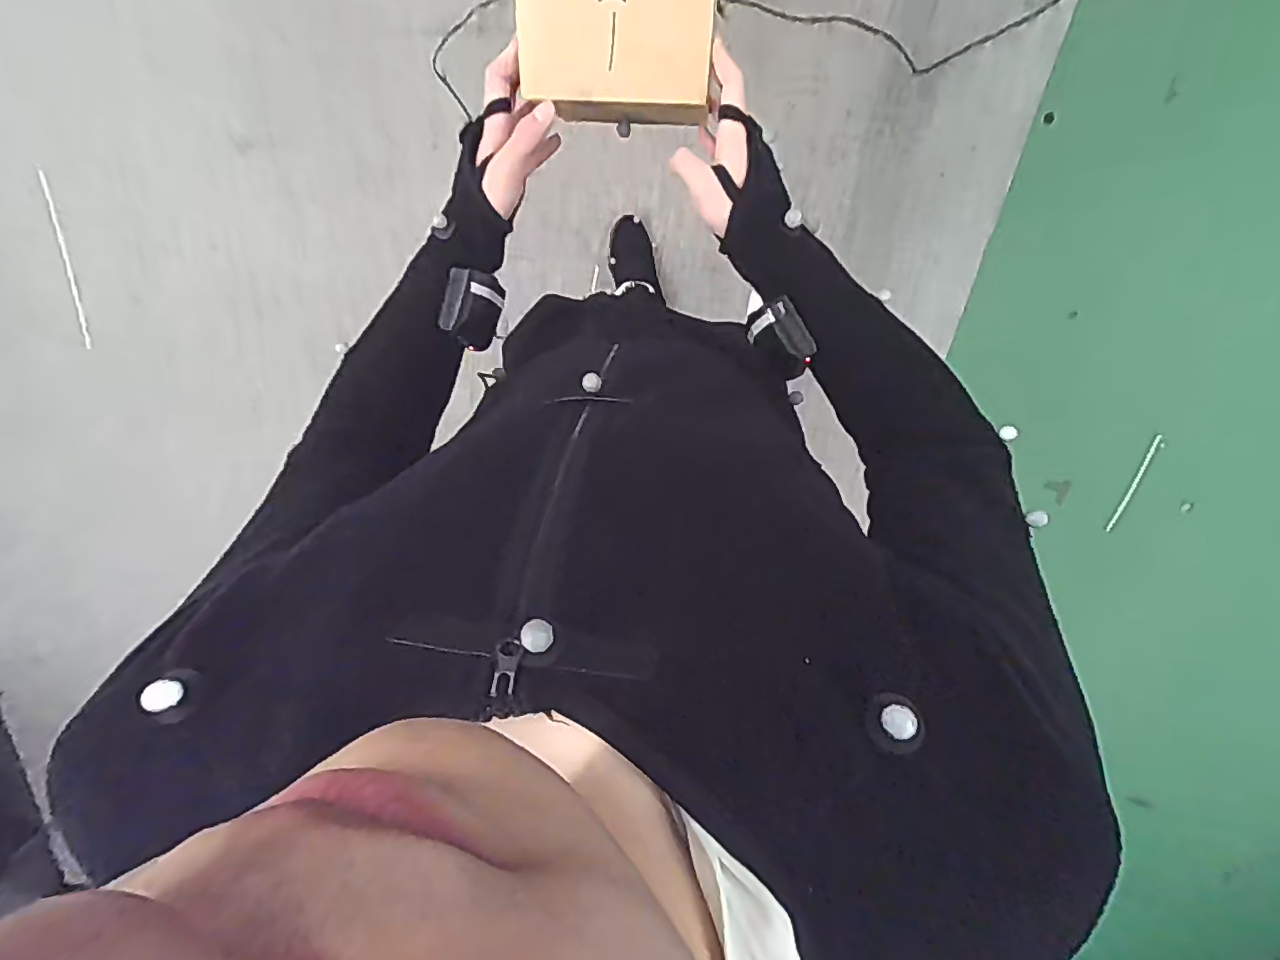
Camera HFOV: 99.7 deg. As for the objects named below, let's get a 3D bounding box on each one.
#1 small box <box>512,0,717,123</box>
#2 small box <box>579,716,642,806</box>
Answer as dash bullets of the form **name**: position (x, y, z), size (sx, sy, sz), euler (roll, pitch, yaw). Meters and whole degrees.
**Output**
- **small box**: position (-0.014, -0.445, 0.496), size (0.168, 0.176, 0.179), euler (6, 119, 5)
- **small box**: position (-0.089, 0.897, 1.731), size (0.168, 0.176, 0.179), euler (11, 112, 1)
